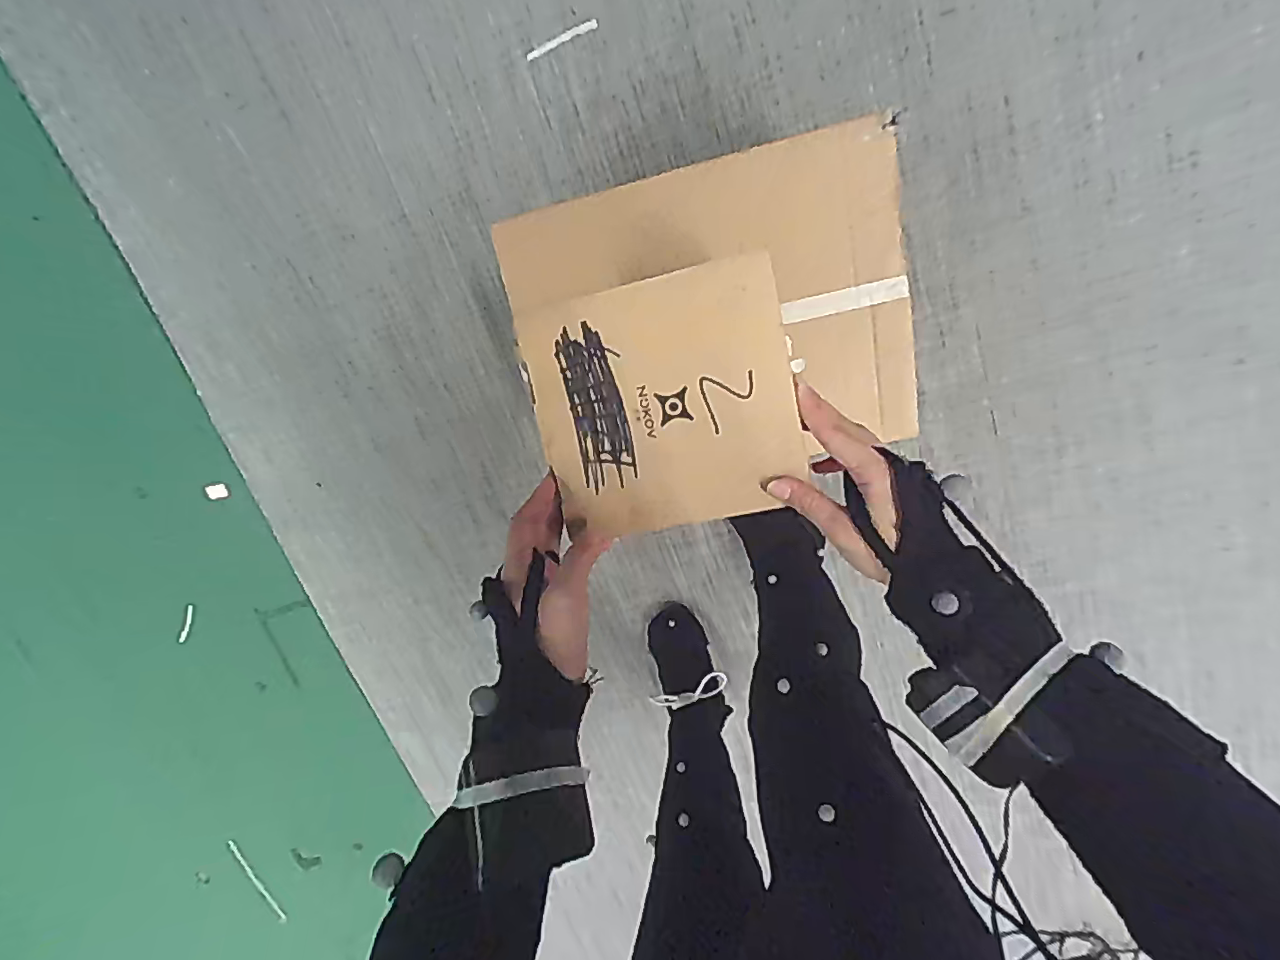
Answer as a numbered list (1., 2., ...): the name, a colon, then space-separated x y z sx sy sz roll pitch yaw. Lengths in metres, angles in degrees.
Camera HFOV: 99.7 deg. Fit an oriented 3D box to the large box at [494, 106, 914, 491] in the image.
1. large box: 0.086 -0.209 0.715 0.408 0.320 0.320 -11 107 11
